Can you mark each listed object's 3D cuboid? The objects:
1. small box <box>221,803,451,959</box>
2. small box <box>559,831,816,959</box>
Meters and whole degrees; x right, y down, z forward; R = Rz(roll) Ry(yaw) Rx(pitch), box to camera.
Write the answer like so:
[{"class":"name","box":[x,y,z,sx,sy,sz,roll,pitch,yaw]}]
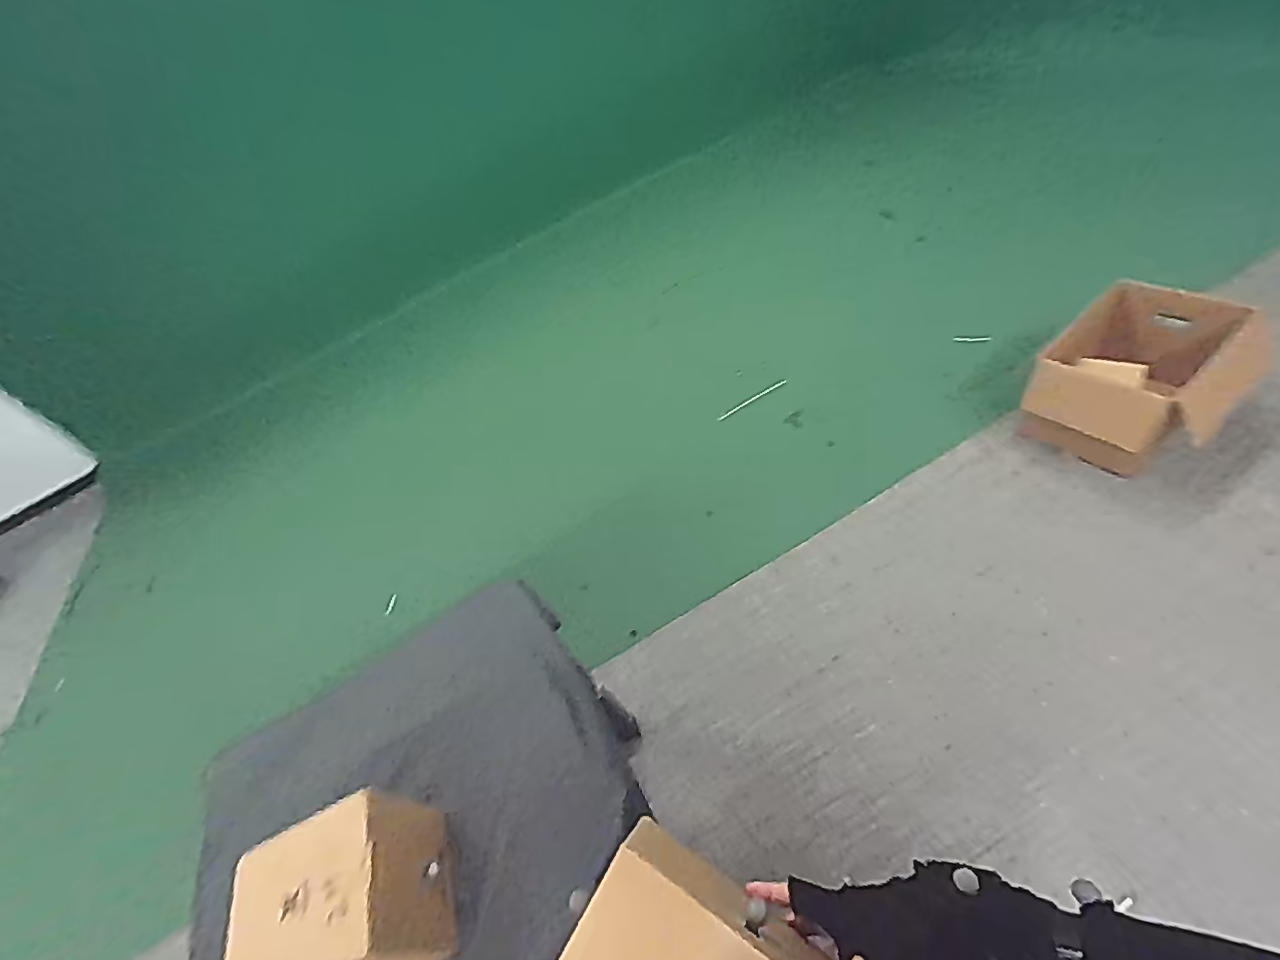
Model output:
[{"class":"small box","box":[-0.355,0.528,0.647,0.179,0.176,0.168,-28,46,-2]},{"class":"small box","box":[0.024,0.369,0.362,0.179,0.176,0.168,30,69,17]}]
